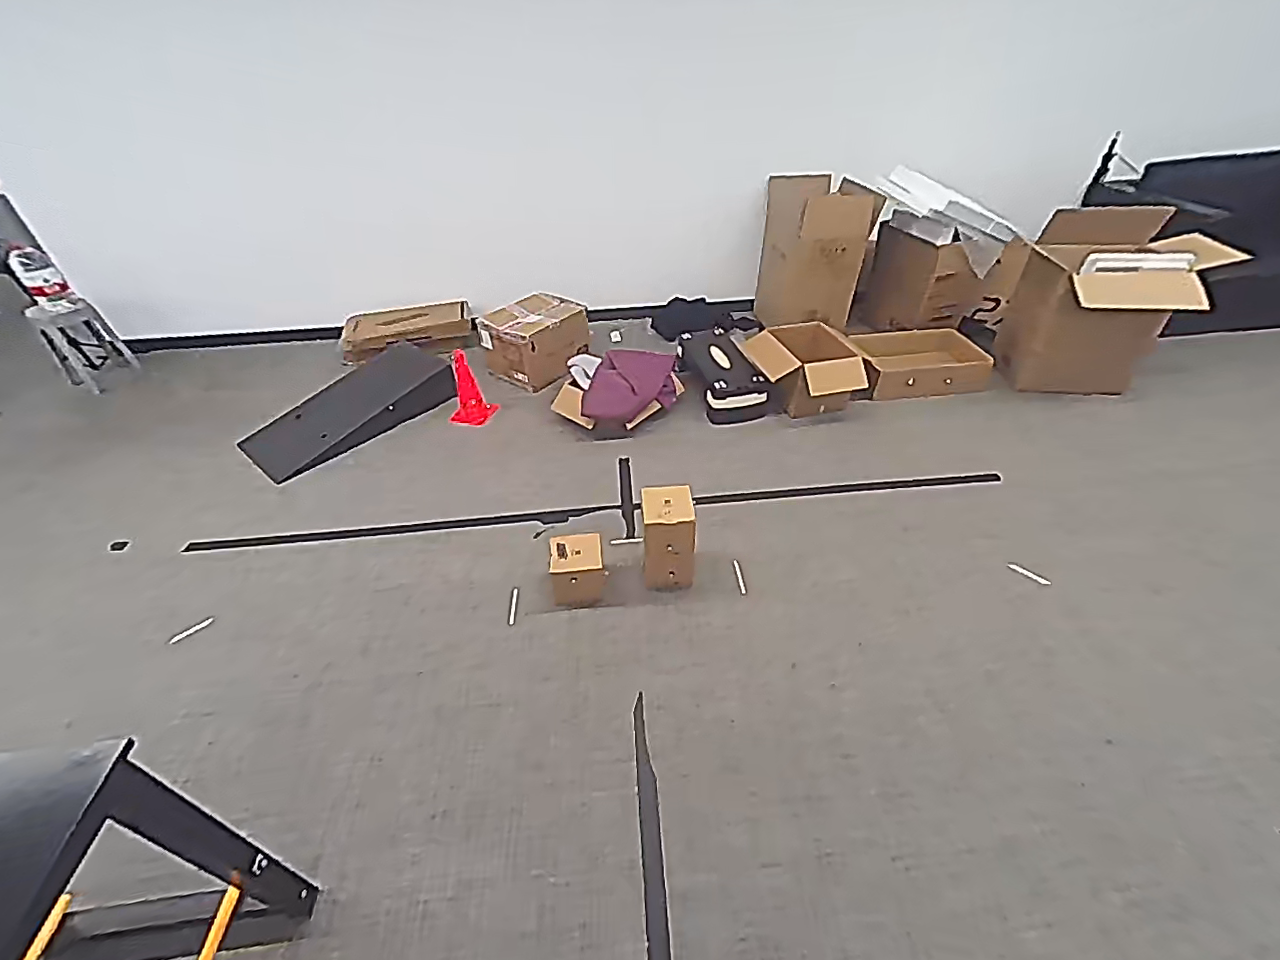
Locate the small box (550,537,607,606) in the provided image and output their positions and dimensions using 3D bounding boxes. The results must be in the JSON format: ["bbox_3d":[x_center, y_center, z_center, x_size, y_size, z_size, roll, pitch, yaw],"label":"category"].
[{"bbox_3d":[-0.212,0.321,1.883,0.179,0.176,0.168,-6,40,-4],"label":"small box"}]

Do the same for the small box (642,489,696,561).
[{"bbox_3d":[0.094,0.150,1.814,0.168,0.176,0.179,-4,40,-1],"label":"small box"}]

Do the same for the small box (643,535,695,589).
[{"bbox_3d":[0.103,0.274,1.925,0.168,0.176,0.179,-5,40,-2],"label":"small box"}]
